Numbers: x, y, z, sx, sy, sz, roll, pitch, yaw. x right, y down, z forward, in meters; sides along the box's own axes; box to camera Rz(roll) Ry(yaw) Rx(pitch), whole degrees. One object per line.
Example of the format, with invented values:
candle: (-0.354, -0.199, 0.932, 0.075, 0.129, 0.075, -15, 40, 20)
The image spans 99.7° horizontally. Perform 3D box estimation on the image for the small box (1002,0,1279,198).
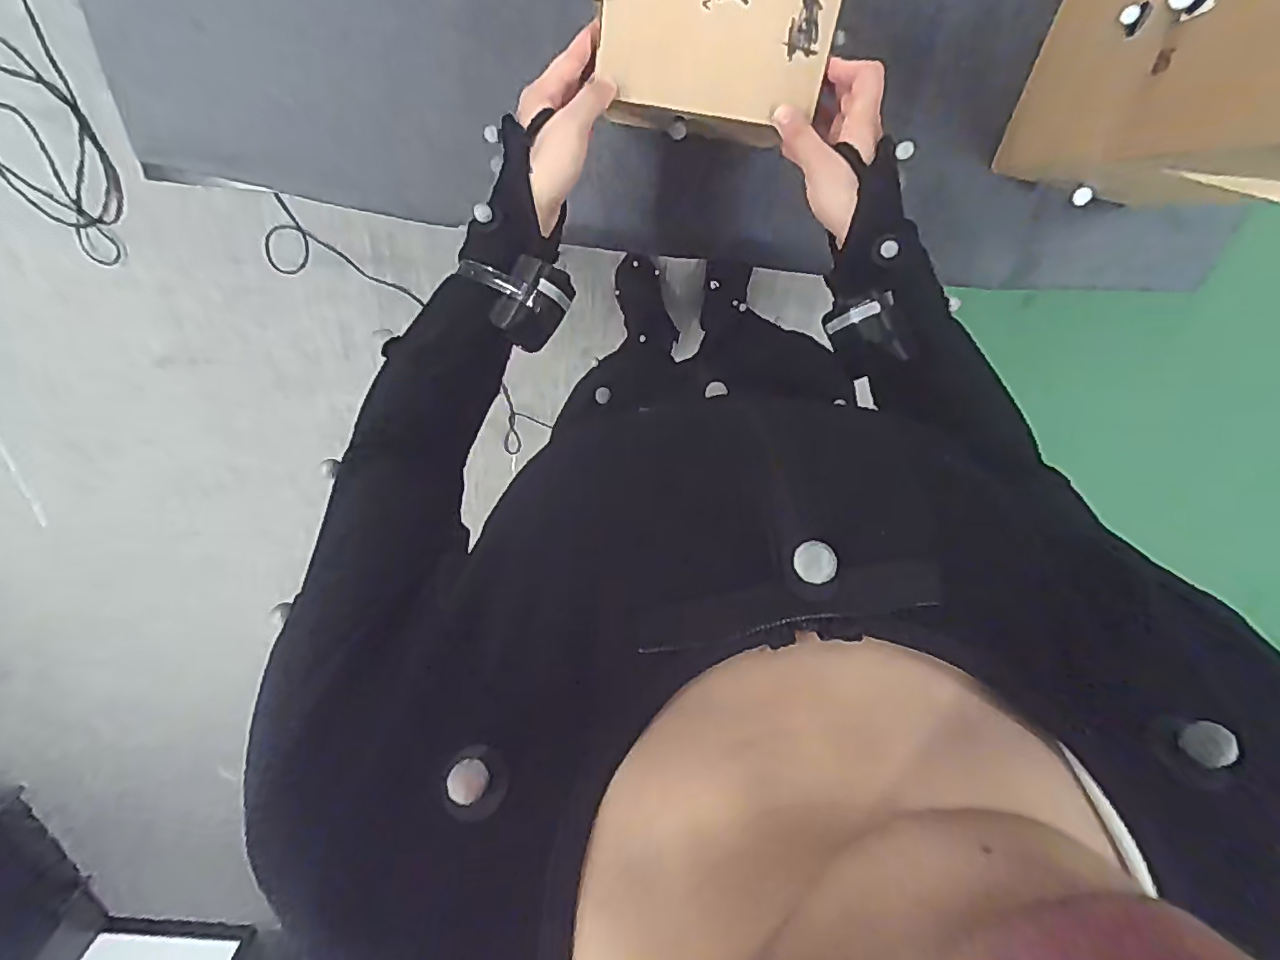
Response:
small box: (0.458, -0.352, 0.457, 0.168, 0.176, 0.179, 11, 117, -3)

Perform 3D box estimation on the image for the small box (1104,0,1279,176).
small box: (0.443, -0.279, 0.313, 0.179, 0.176, 0.168, 5, 116, 1)
